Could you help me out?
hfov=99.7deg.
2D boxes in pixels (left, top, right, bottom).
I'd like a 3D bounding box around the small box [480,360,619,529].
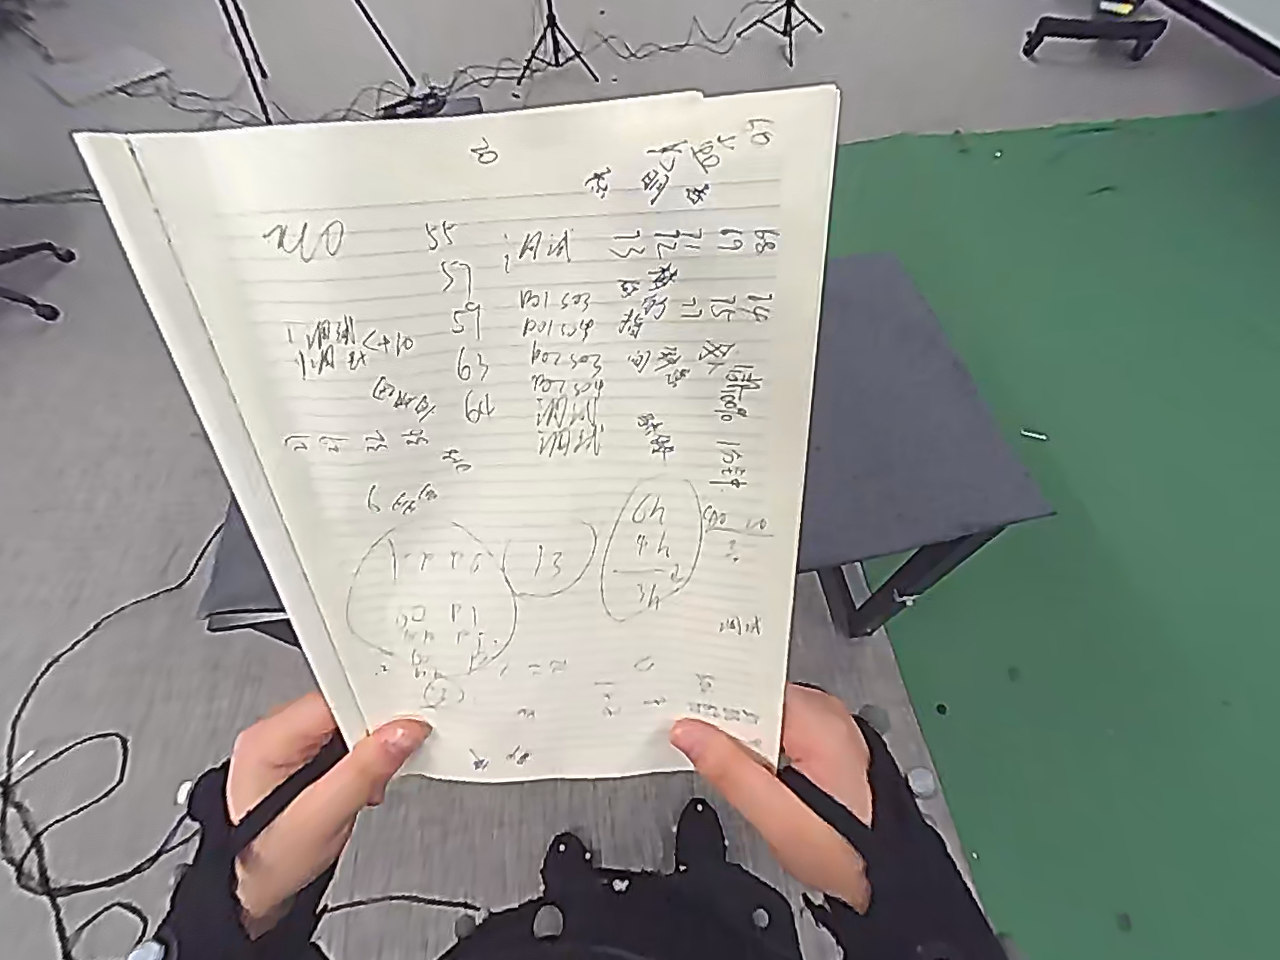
[{"bbox_3d":[-0.119,-0.048,0.780,0.168,0.176,0.179,-5,58,0],"label":"small box"}]
